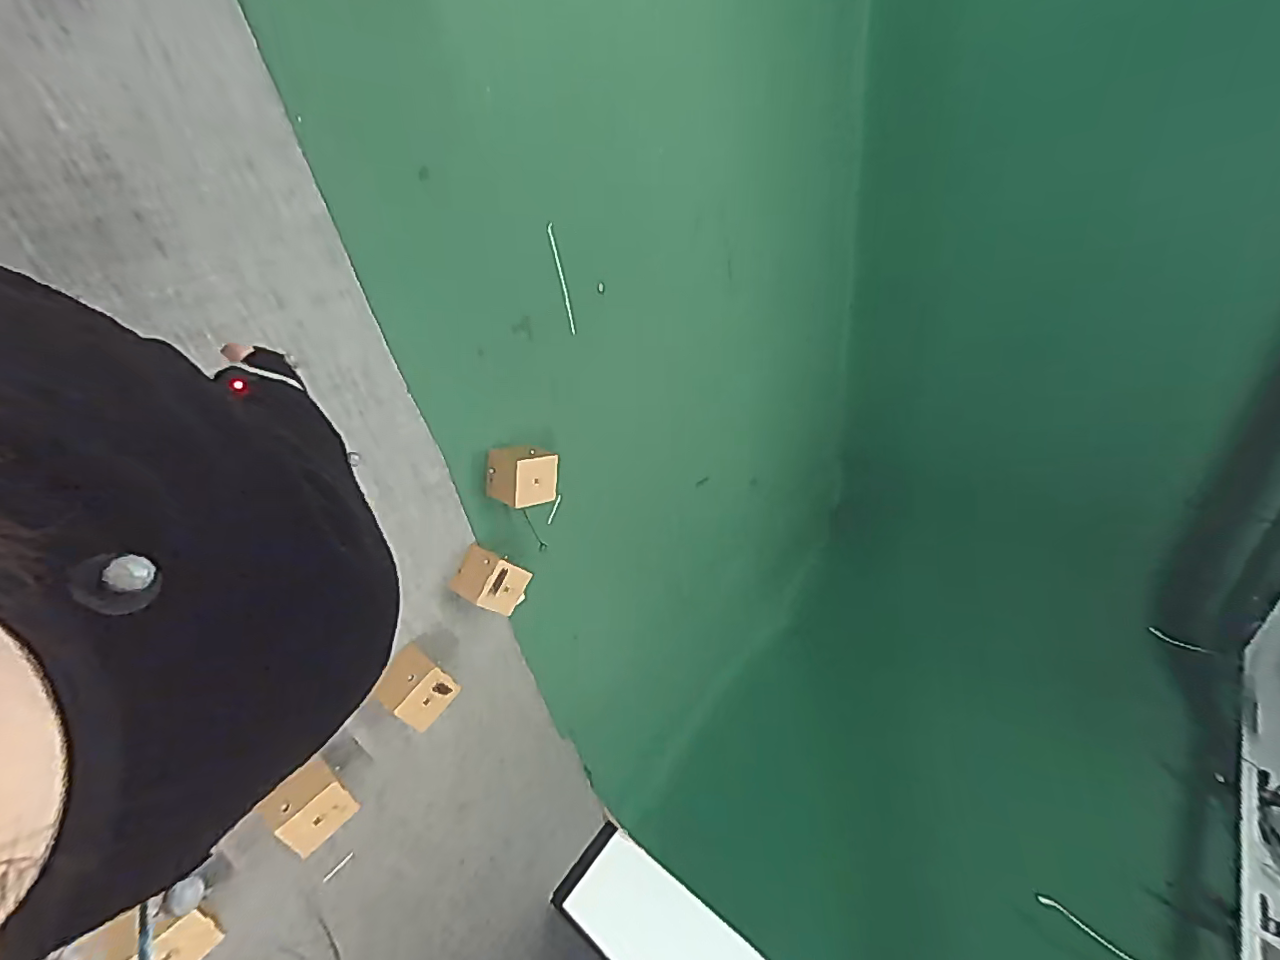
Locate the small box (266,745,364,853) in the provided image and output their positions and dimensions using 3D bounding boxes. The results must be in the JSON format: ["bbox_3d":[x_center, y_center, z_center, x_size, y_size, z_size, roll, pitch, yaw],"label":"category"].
[{"bbox_3d":[-0.956,0.927,1.583,0.179,0.176,0.168,-39,133,-35],"label":"small box"}]

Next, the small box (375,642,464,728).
[{"bbox_3d":[-0.719,0.661,1.761,0.179,0.176,0.168,-48,137,-26],"label":"small box"}]

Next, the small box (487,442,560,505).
[{"bbox_3d":[-0.401,-0.029,1.860,0.179,0.176,0.168,-12,114,-48],"label":"small box"}]

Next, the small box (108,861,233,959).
[{"bbox_3d":[-1.194,1.130,1.377,0.179,0.176,0.168,-34,129,-39],"label":"small box"}]
